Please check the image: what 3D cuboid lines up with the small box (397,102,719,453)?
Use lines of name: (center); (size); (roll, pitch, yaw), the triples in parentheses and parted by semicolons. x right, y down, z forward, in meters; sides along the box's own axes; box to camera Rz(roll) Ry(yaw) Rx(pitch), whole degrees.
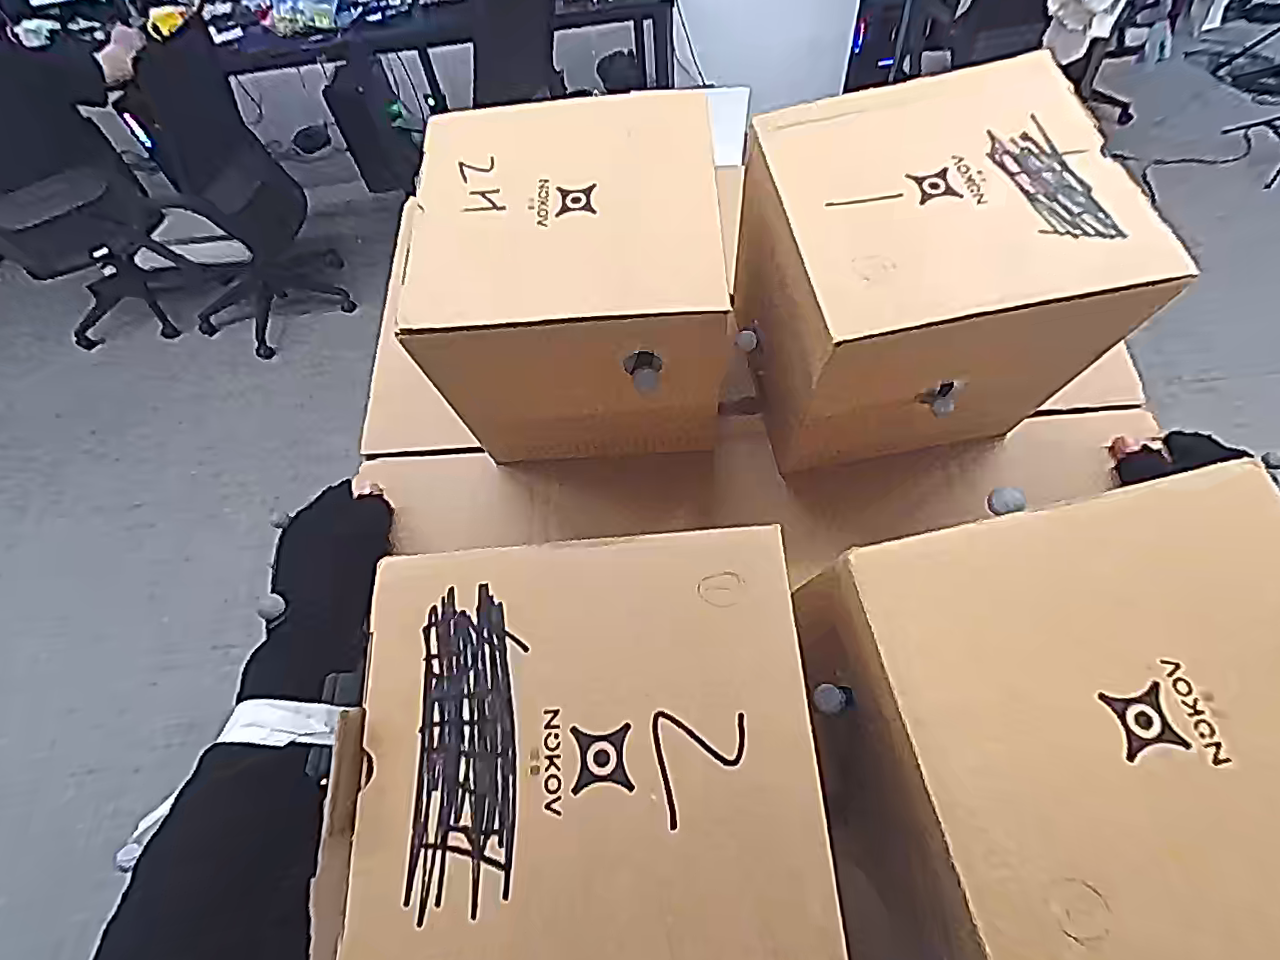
small box: (-0.040, -0.128, 0.390); (0.179, 0.176, 0.168); (-3, 67, 4)
